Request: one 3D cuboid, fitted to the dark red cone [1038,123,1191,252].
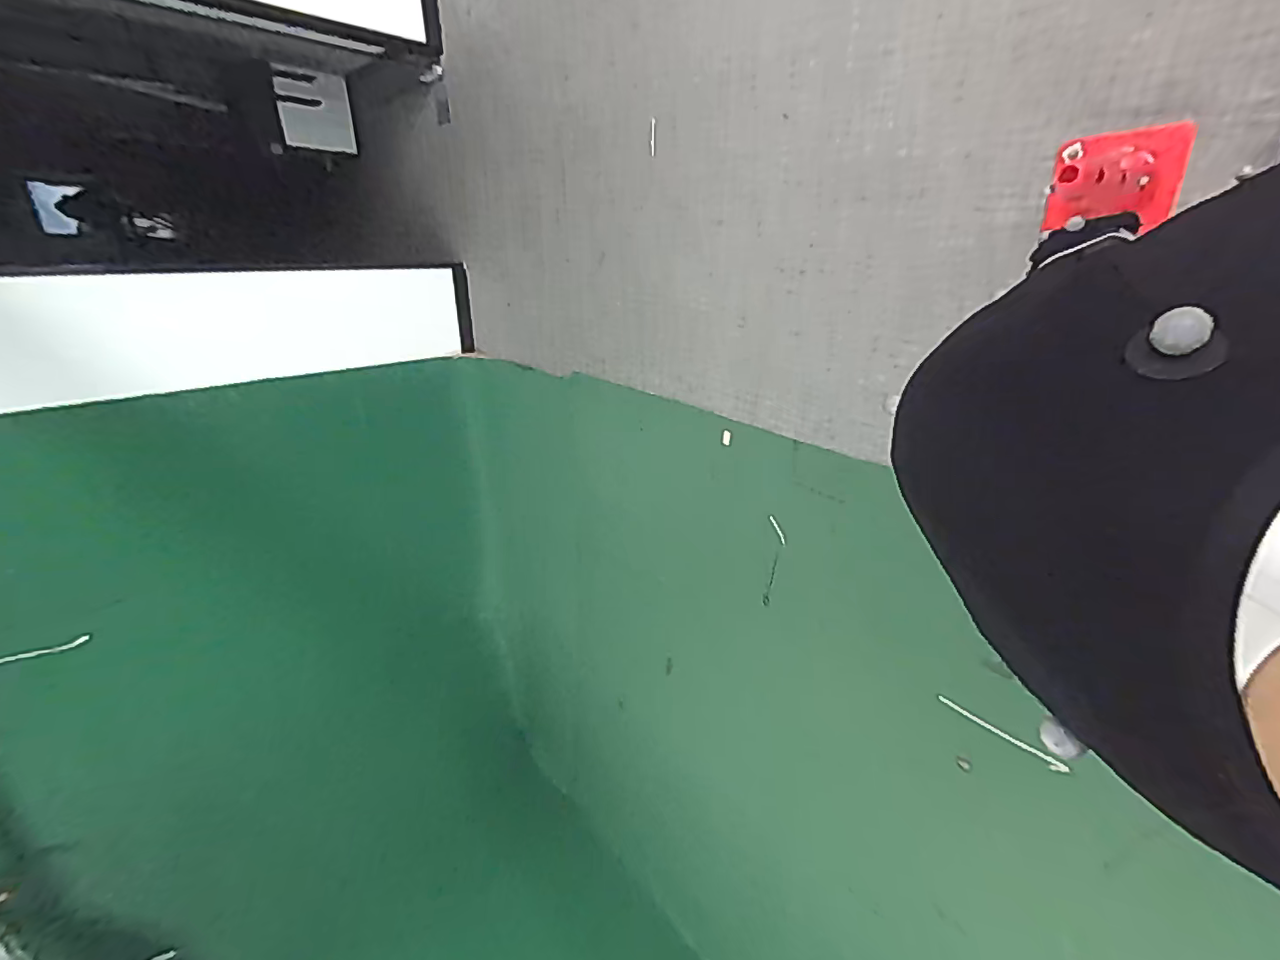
[{"bbox_3d":[0.783,-0.506,0.934,0.202,0.394,0.201,18,120,44],"label":"dark red cone"}]
